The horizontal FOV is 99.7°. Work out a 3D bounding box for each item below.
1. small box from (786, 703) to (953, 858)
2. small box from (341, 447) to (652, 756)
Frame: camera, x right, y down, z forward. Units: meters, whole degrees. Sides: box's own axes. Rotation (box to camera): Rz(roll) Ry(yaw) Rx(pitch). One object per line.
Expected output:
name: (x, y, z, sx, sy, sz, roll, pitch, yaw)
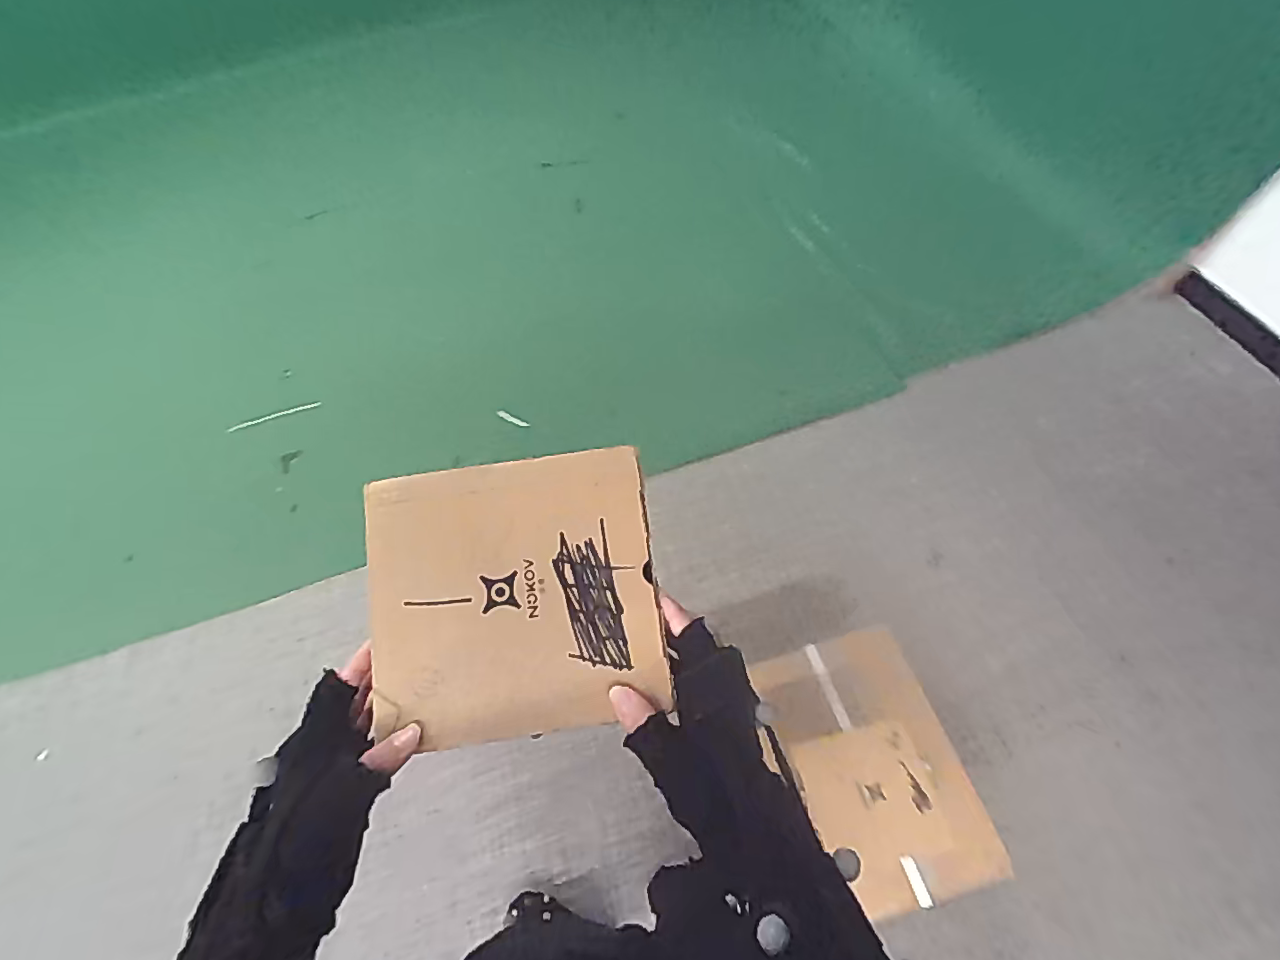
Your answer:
small box: (0.335, 0.459, 0.837, 0.179, 0.176, 0.168, -16, 62, 1)
small box: (-0.092, 0.084, 0.409, 0.179, 0.176, 0.168, -9, 78, -2)
